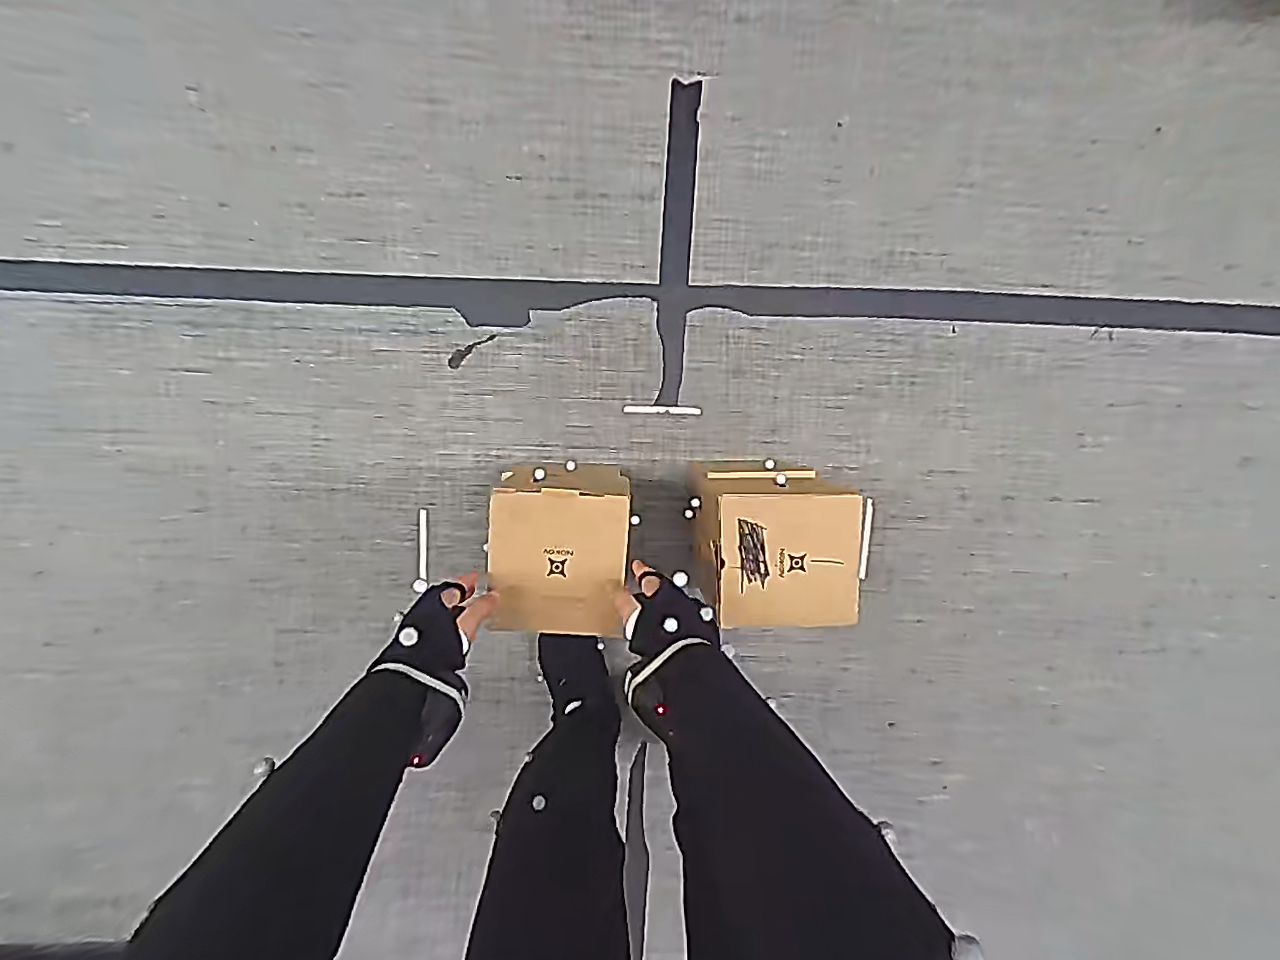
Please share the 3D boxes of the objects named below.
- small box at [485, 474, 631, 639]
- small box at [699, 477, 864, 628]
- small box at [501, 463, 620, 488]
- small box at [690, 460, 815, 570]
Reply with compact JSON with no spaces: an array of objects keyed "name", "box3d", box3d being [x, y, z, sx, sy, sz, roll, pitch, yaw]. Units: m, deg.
[{"name":"small box","box3d":[-0.100,0.090,0.714,0.168,0.176,0.179,3,98,-2]},{"name":"small box","box3d":[0.175,0.088,0.724,0.179,0.176,0.168,-1,97,-3]},{"name":"small box","box3d":[-0.123,0.064,0.873,0.179,0.176,0.168,3,97,-2]},{"name":"small box","box3d":[0.175,0.064,0.888,0.168,0.176,0.179,-1,98,-2]}]
